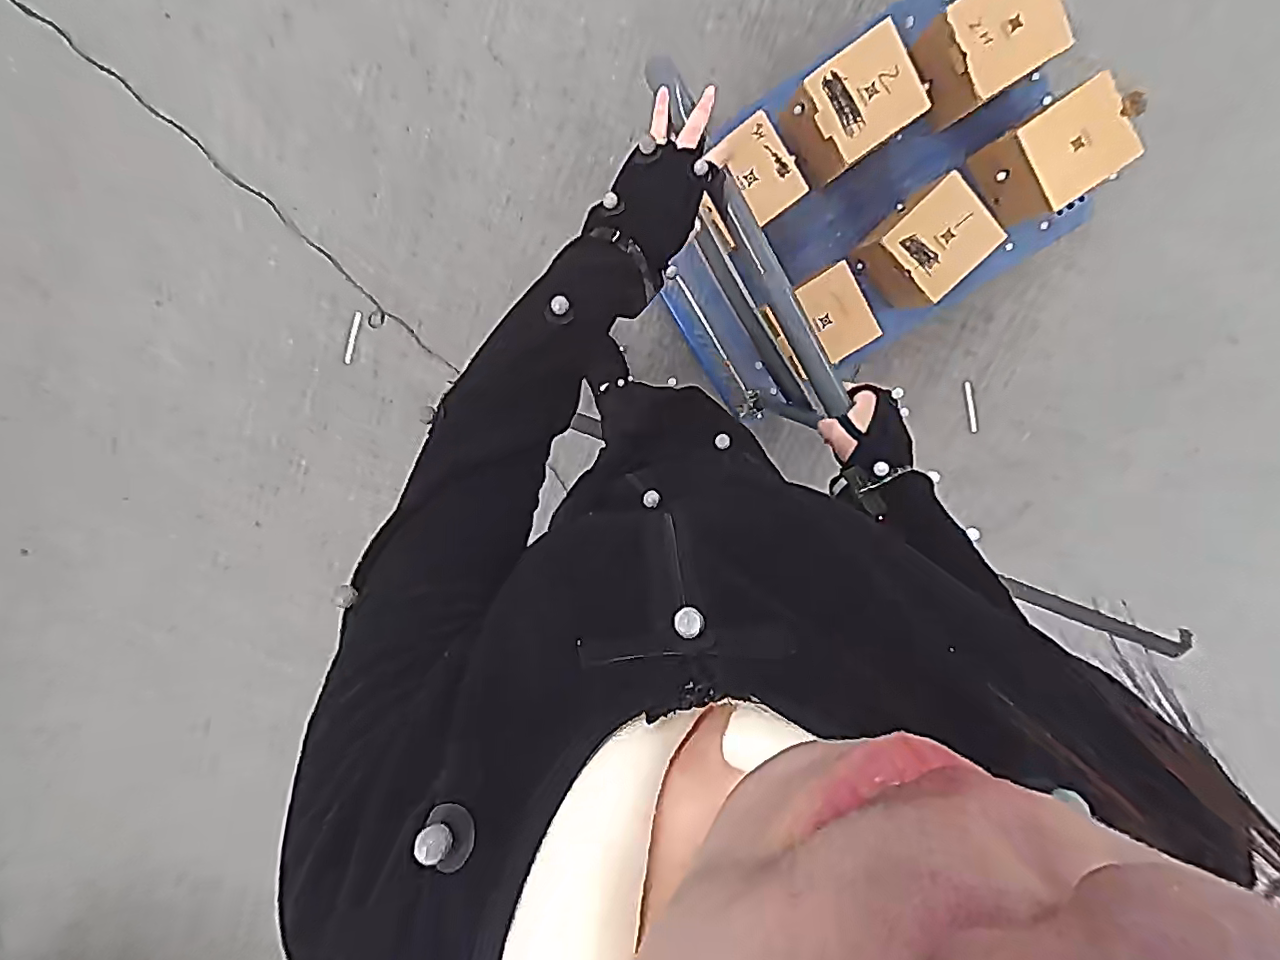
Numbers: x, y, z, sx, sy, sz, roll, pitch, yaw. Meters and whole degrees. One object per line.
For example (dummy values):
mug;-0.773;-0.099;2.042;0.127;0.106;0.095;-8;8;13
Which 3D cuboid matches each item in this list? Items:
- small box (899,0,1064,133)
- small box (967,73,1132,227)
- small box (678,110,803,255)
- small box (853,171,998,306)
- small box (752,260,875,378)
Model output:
small box;0.629;-0.801;1.016;0.179;0.176;0.168;-29;102;8
small box;0.784;-0.630;1.061;0.179;0.176;0.168;-34;101;8
small box;0.189;-0.573;1.075;0.179;0.176;0.168;-35;103;9
small box;0.563;-0.475;1.100;0.179;0.176;0.168;-43;100;9
small box;0.352;-0.332;1.139;0.179;0.176;0.168;-31;103;7
